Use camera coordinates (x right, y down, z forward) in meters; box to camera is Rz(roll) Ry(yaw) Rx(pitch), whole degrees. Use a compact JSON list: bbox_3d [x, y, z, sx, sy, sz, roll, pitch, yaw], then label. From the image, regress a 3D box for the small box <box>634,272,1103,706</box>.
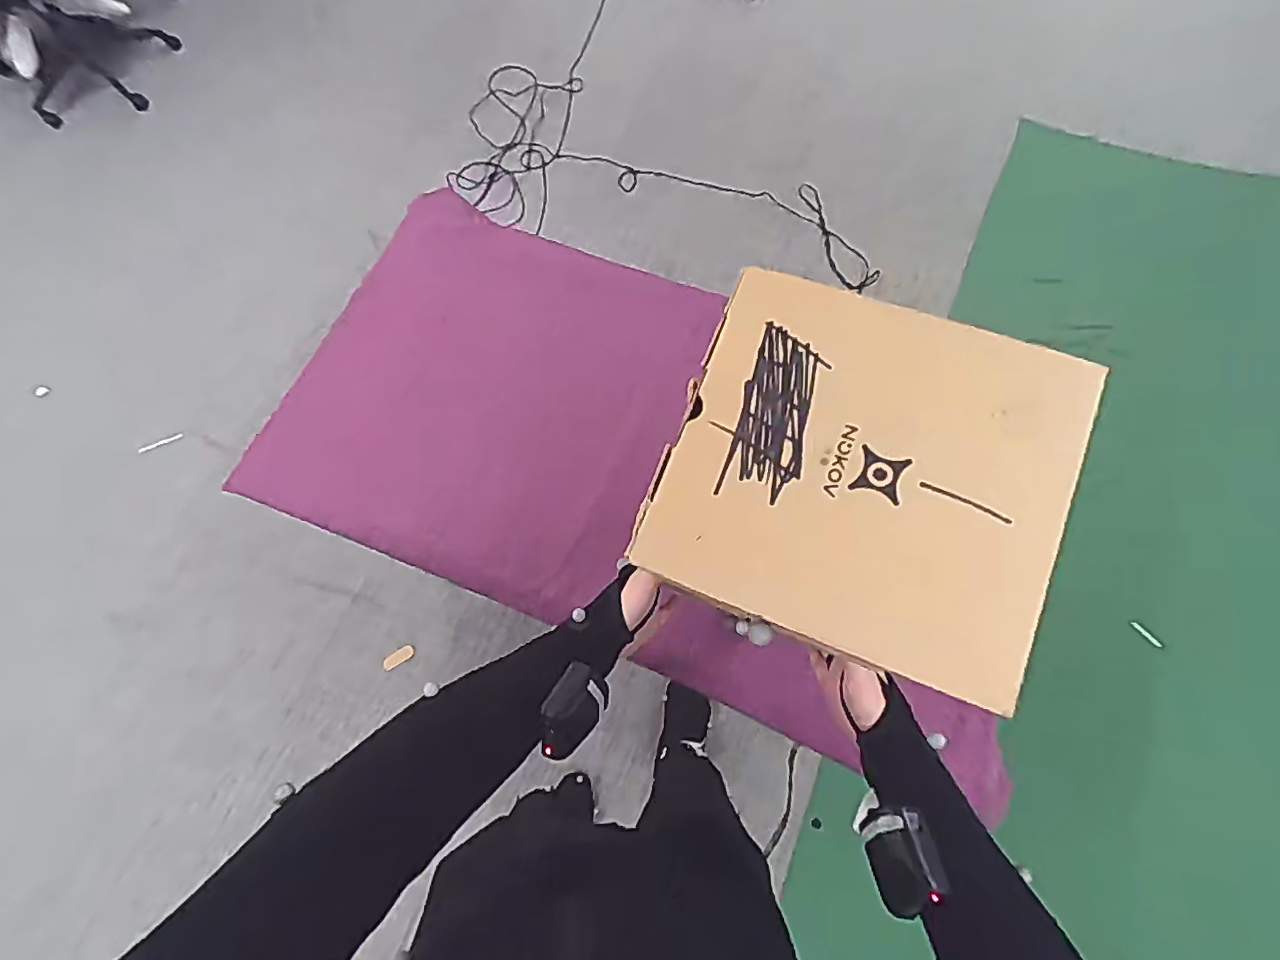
[{"bbox_3d":[0.115,0.011,0.331,0.179,0.176,0.168,21,81,10],"label":"small box"}]
